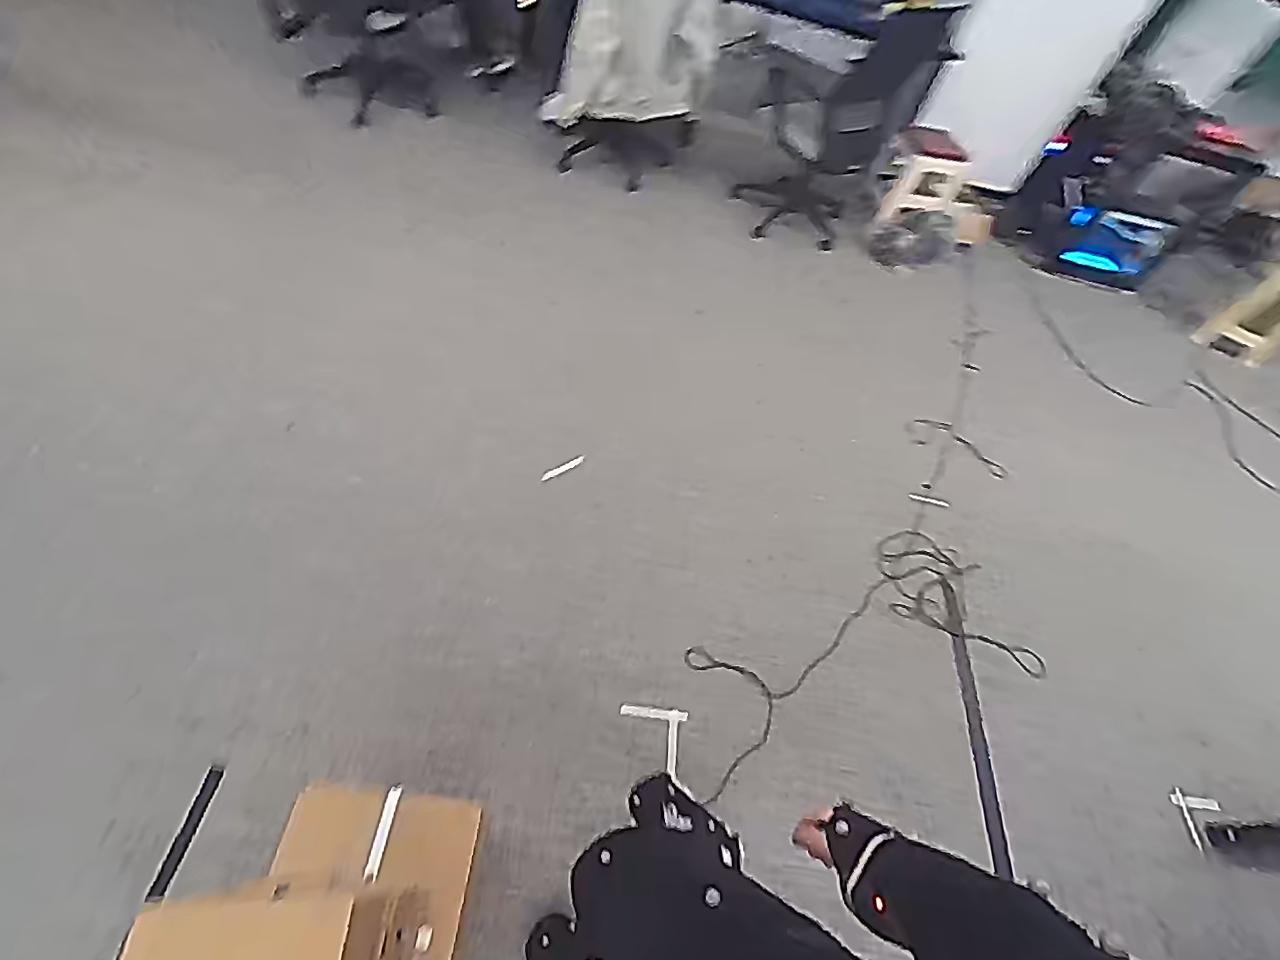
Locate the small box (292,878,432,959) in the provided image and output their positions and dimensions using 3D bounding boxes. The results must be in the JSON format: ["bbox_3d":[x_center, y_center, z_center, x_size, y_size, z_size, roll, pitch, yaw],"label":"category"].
[{"bbox_3d":[-0.411,0.669,0.761,0.179,0.176,0.168,9,55,-7],"label":"small box"}]

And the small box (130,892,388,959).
[{"bbox_3d":[-0.350,0.487,0.496,0.179,0.176,0.168,5,54,-10],"label":"small box"}]

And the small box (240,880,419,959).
[{"bbox_3d":[-0.376,0.576,0.633,0.179,0.176,0.168,7,54,-7],"label":"small box"}]
